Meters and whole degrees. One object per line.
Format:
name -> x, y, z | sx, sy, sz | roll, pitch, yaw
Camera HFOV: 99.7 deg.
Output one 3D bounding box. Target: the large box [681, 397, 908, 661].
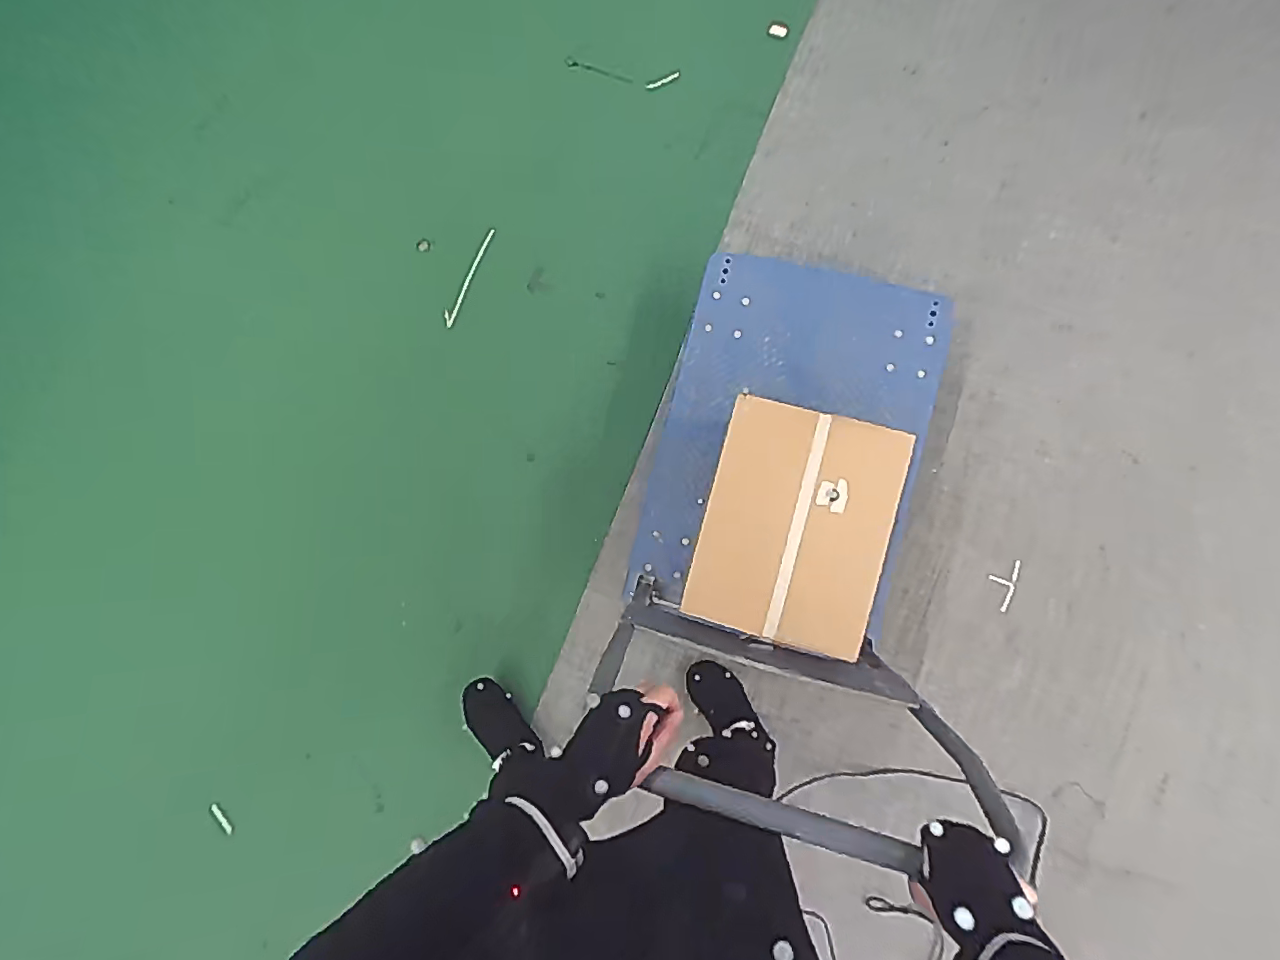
large box -> 0.282, 0.093, 1.084 | 0.320, 0.320, 0.408 | 15, 87, 6
